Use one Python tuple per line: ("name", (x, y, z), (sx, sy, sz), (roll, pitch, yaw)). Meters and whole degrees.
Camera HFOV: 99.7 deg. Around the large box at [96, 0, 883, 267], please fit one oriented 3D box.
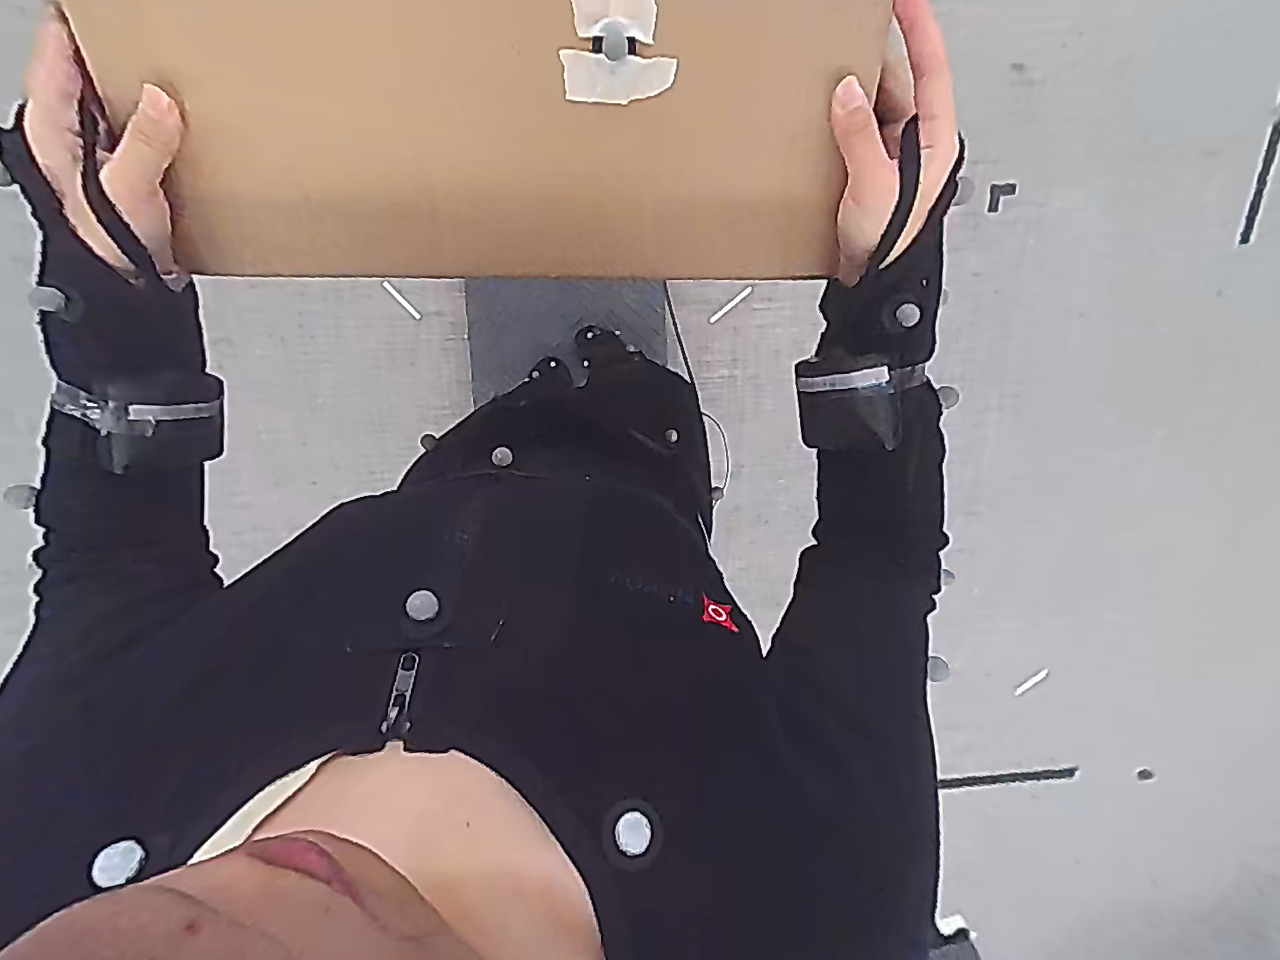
("large box", (-0.077, -0.342, 0.389), (0.408, 0.320, 0.320), (0, 121, -2))
